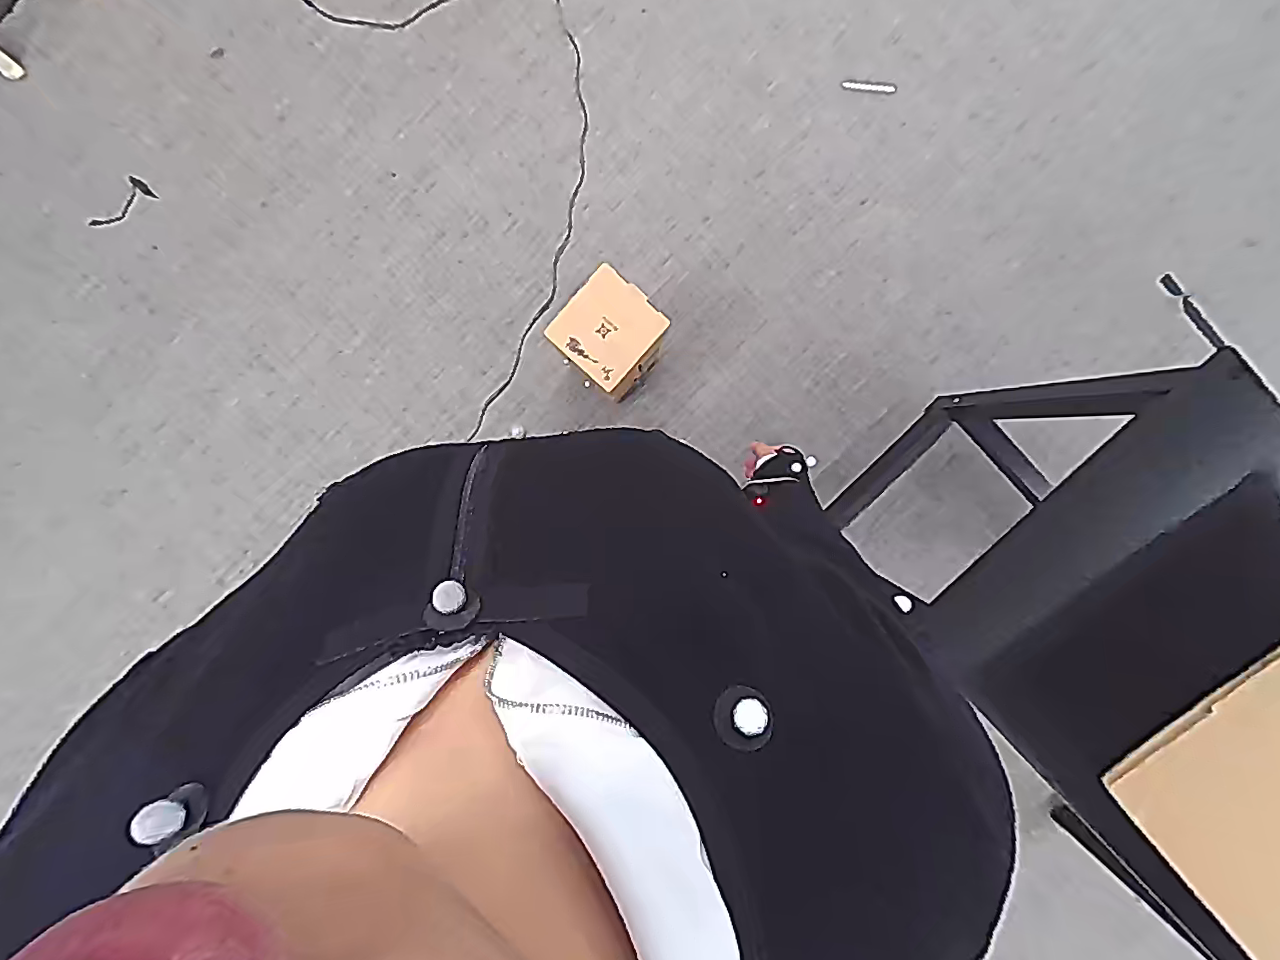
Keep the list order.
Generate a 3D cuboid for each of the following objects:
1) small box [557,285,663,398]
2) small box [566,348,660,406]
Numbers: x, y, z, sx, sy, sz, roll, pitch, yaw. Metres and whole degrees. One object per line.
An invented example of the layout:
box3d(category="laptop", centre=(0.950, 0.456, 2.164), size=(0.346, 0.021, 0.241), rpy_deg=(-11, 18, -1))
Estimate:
box3d(category="small box", centre=(-0.064, -0.304, 1.234), size=(0.168, 0.176, 0.179), rpy_deg=(39, 91, -4))
box3d(category="small box", centre=(-0.068, -0.310, 1.395), size=(0.168, 0.176, 0.179), rpy_deg=(42, 93, -3))
